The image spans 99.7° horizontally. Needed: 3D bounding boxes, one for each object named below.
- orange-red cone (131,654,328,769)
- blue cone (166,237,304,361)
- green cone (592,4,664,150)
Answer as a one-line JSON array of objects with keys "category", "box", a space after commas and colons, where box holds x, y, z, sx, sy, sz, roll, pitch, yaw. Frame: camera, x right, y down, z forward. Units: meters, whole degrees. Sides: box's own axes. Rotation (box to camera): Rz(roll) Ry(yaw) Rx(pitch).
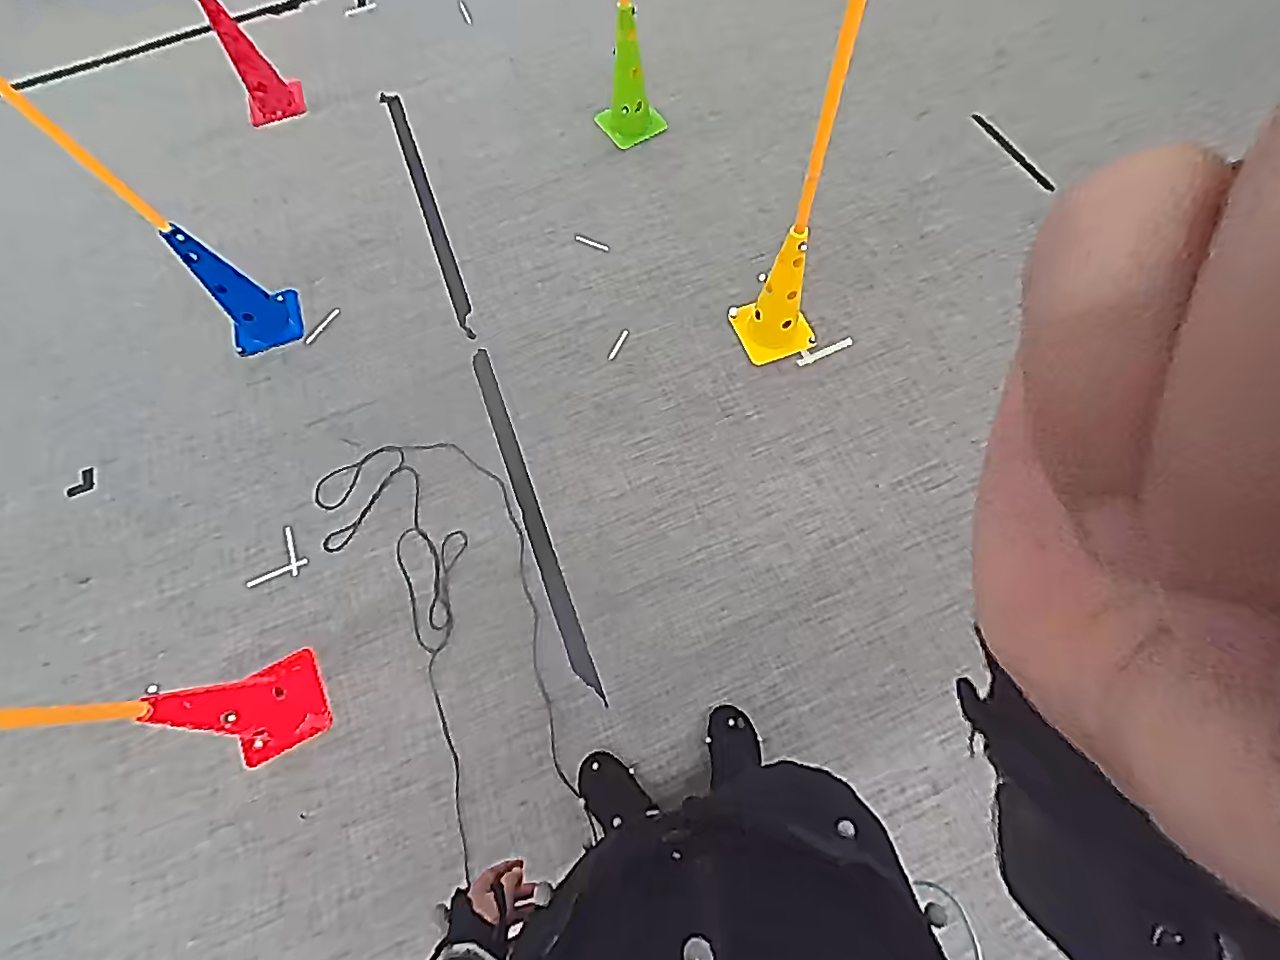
[{"category": "orange-red cone", "box": [-0.827, 0.455, 1.068, 0.199, 0.360, 0.198, -26, 69, -9]}, {"category": "blue cone", "box": [-1.137, -0.522, 1.496, 0.193, 0.380, 0.192, -19, 69, -4]}, {"category": "green cone", "box": [-0.048, -1.309, 1.736, 0.200, 0.368, 0.202, -32, 72, -9]}]
